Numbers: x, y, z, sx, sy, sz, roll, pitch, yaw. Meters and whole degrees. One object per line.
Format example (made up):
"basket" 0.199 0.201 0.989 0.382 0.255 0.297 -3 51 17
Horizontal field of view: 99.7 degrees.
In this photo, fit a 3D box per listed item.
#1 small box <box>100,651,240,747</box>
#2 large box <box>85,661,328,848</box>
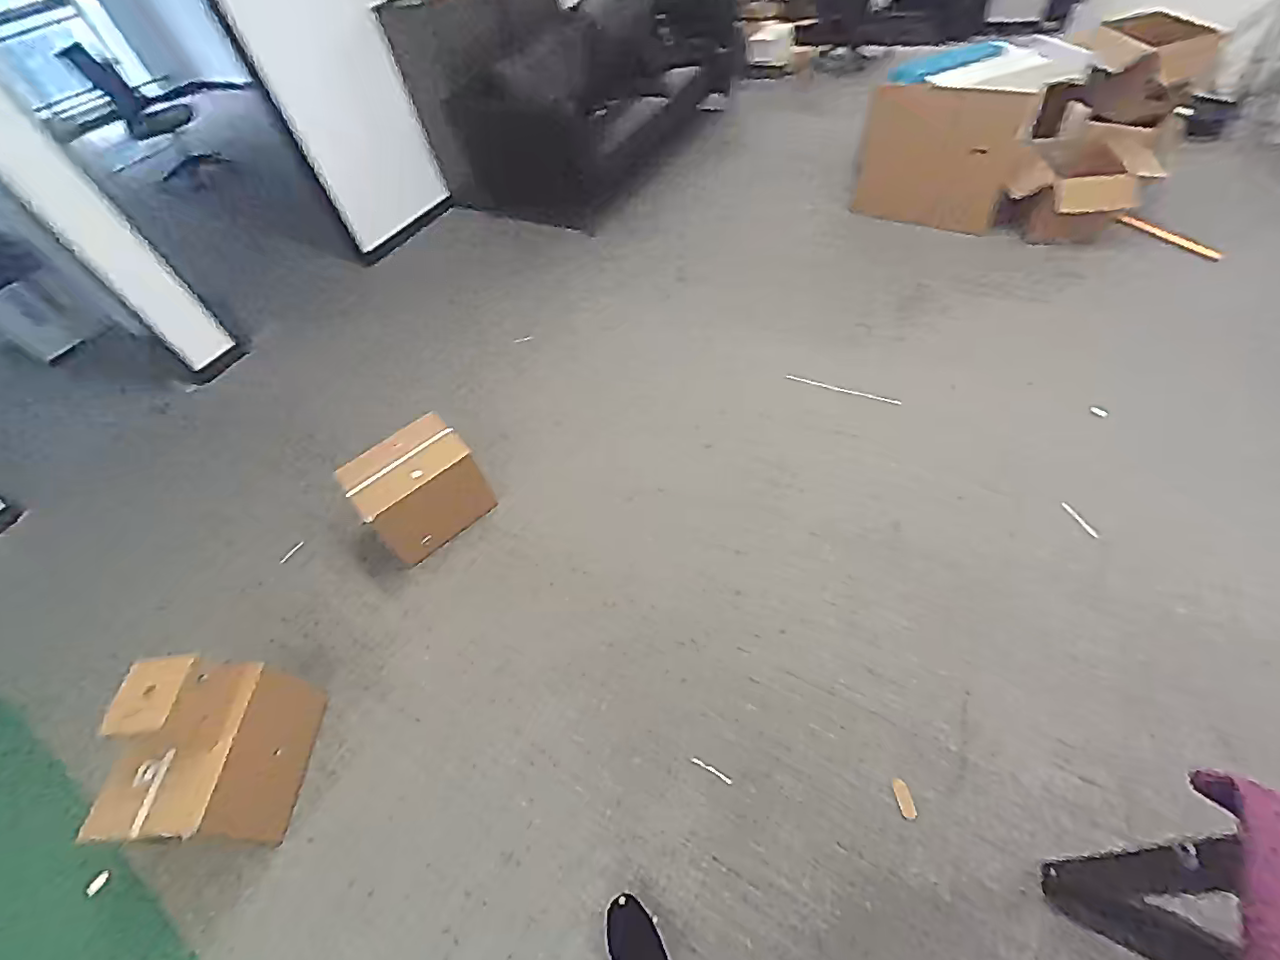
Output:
"small box" -1.151 0.547 1.346 0.168 0.176 0.179 -6 51 4
"large box" -1.146 0.760 1.495 0.320 0.320 0.408 -7 52 6
